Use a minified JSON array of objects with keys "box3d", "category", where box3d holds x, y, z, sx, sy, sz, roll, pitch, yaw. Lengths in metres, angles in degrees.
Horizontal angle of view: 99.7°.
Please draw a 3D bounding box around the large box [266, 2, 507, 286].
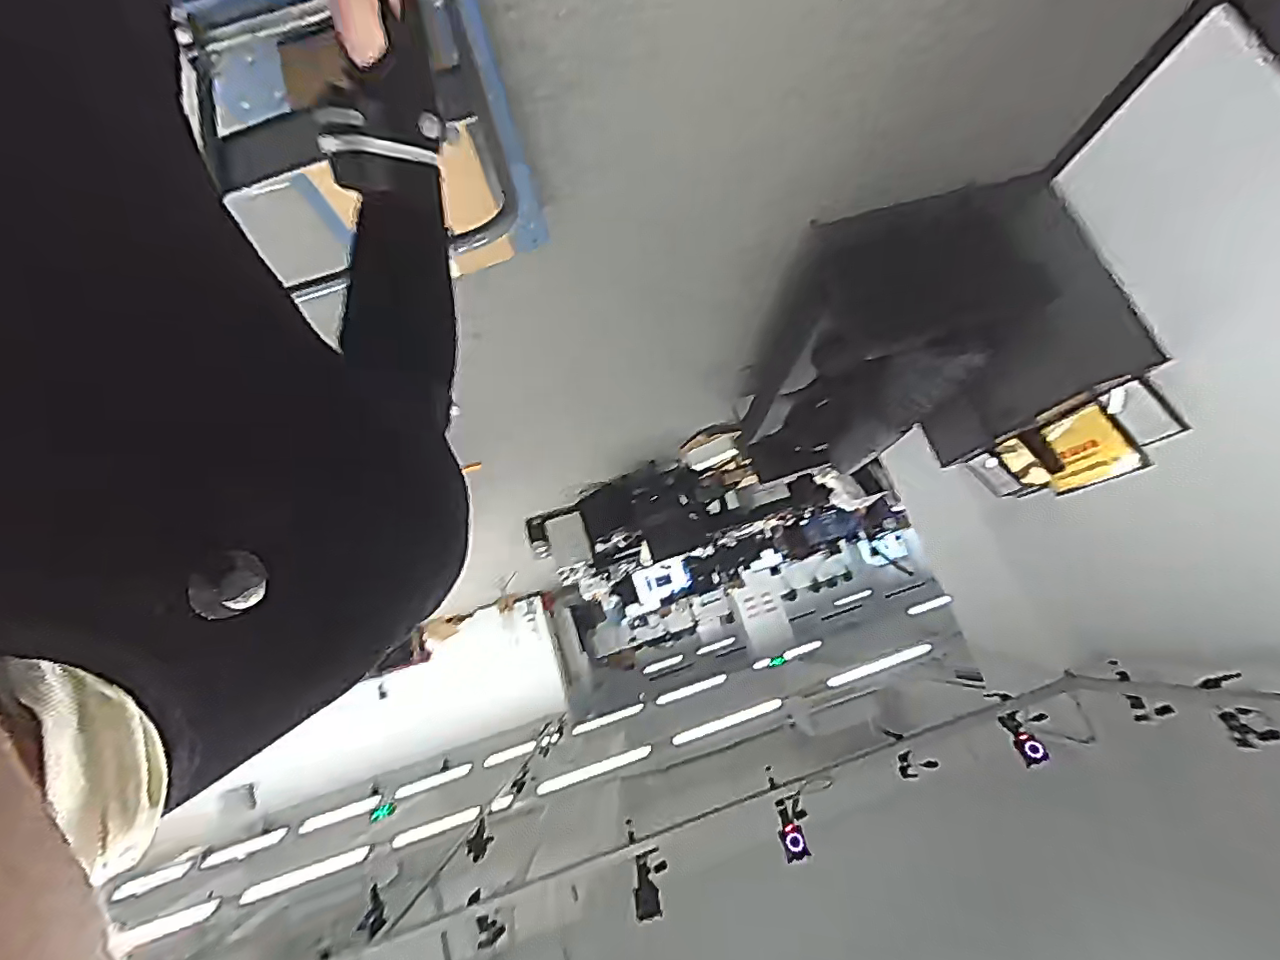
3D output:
[{"box3d":[-0.541,-0.725,1.223,0.320,0.320,0.408,-18,167,-3],"category":"large box"}]
